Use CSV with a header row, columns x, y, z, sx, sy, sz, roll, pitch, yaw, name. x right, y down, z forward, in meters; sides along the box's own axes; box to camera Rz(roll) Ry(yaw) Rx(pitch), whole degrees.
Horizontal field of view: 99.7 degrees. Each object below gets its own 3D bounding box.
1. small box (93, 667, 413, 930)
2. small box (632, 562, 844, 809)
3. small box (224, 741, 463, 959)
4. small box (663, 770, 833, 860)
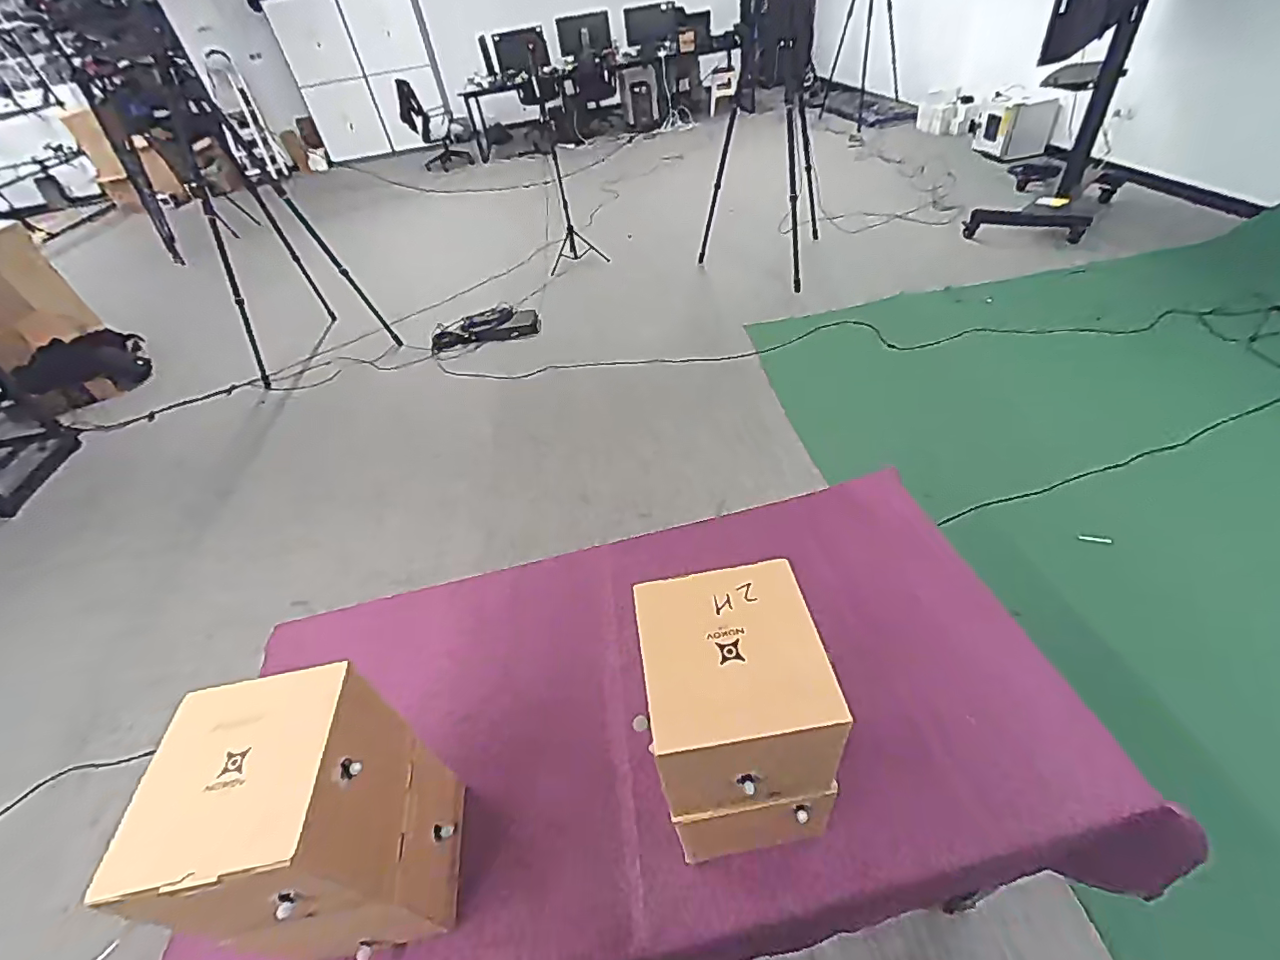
x,y,z,sx,sy,sz,roll,pitch,yaw,name
-0.348,0.318,0.536,0.168,0.176,0.179,-11,42,0,small box
0.091,0.214,0.554,0.168,0.176,0.179,-10,42,1,small box
-0.325,0.440,0.643,0.179,0.176,0.168,-12,42,-2,small box
0.115,0.338,0.661,0.179,0.176,0.168,-11,42,-1,small box
